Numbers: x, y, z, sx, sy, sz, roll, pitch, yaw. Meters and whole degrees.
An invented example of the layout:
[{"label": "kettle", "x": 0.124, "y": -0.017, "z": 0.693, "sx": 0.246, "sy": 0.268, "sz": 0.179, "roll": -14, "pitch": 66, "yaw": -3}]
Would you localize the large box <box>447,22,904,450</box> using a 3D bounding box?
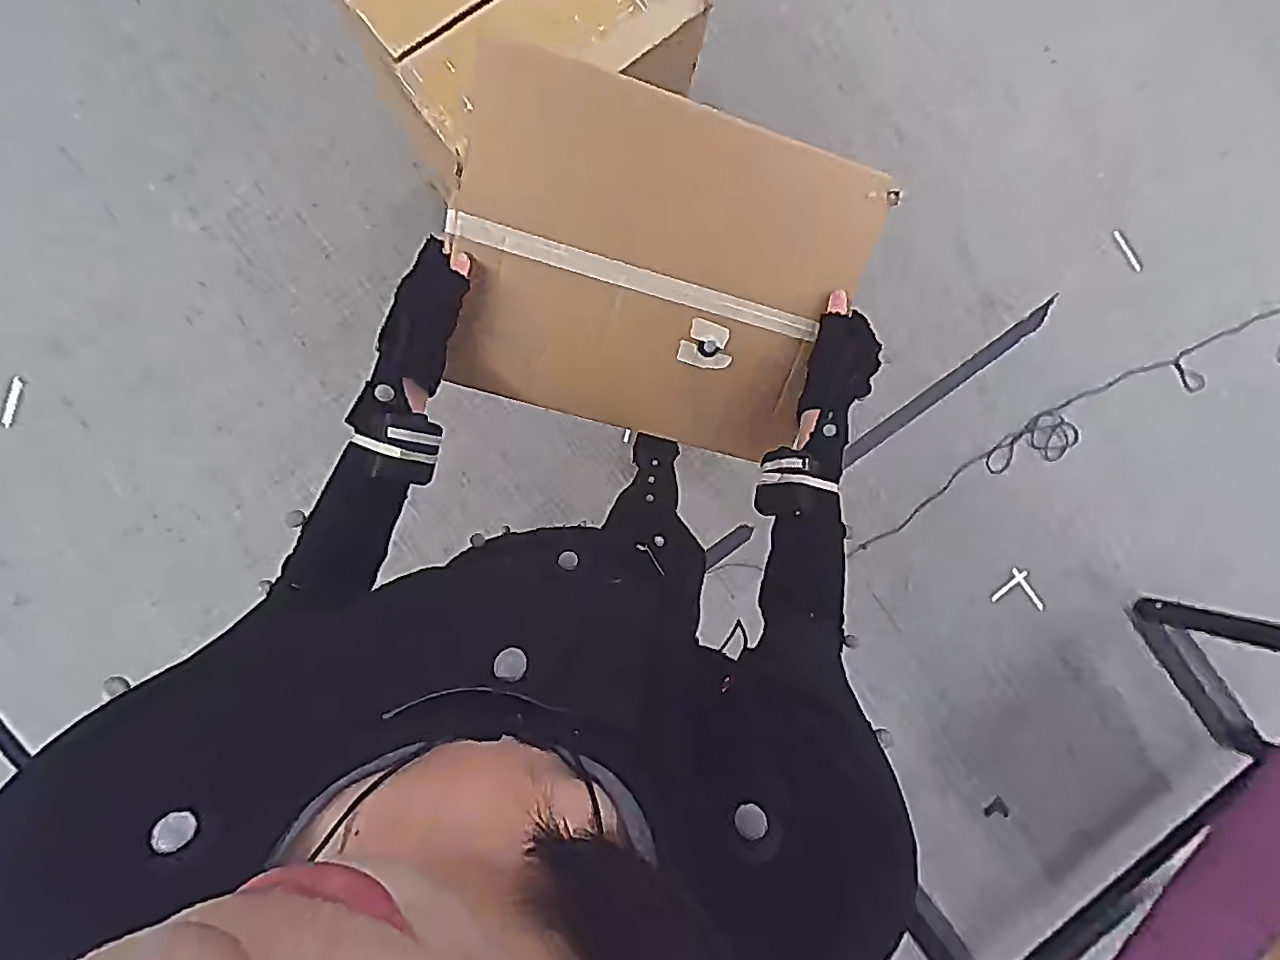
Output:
[{"label": "large box", "x": 0.013, "y": -0.267, "z": 0.675, "sx": 0.408, "sy": 0.320, "sz": 0.320, "roll": 13, "pitch": 112, "yaw": -10}]
